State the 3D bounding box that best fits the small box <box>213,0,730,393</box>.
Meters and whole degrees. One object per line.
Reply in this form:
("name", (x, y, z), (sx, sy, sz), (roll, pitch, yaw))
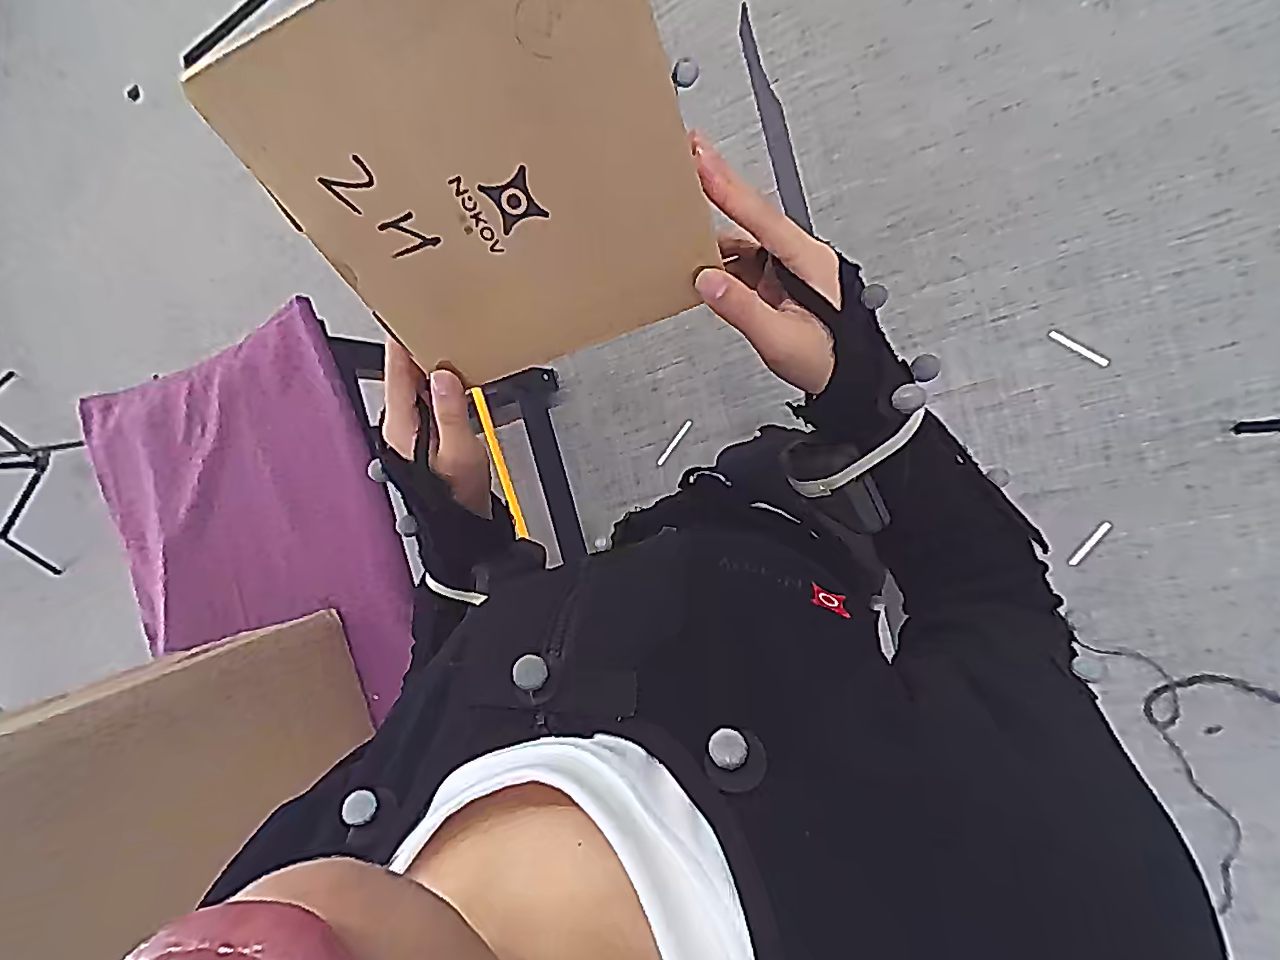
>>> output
("small box", (-0.065, -0.184, 0.299), (0.179, 0.168, 0.176), (-16, 47, 14))
